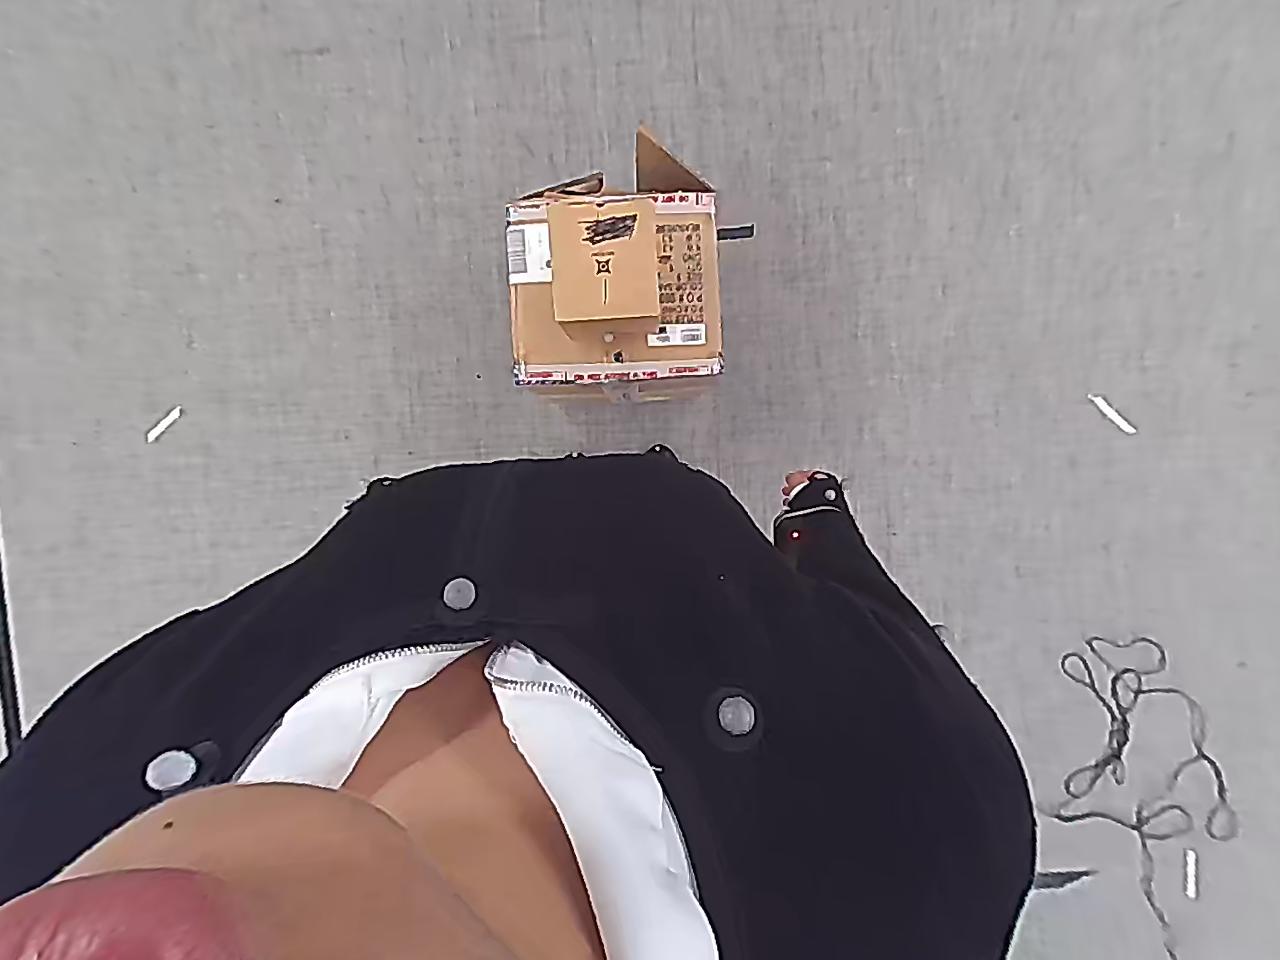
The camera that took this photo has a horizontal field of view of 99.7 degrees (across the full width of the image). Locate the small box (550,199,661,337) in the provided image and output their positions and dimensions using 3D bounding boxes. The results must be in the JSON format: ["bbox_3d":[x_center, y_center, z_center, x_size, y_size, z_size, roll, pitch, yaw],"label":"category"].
[{"bbox_3d":[-0.053,-0.346,0.907,0.168,0.176,0.179,-3,96,1],"label":"small box"}]
